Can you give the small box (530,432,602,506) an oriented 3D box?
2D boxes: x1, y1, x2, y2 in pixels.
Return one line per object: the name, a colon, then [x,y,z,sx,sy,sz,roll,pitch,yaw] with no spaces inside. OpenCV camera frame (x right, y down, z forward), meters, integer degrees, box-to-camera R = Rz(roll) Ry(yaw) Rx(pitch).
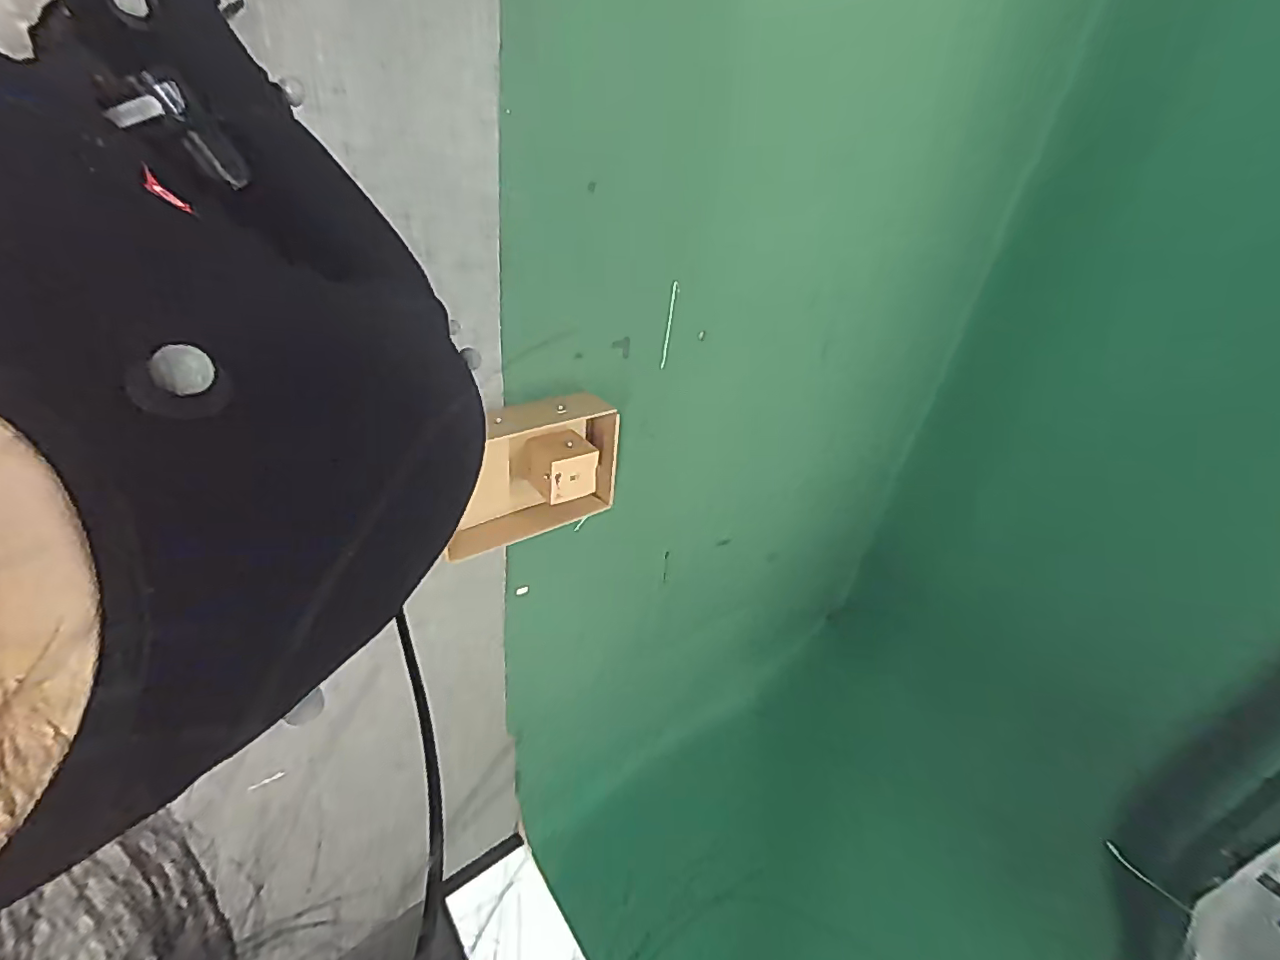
small box: [-0.249,-0.045,1.798,0.179,0.176,0.168,-17,130,-34]
